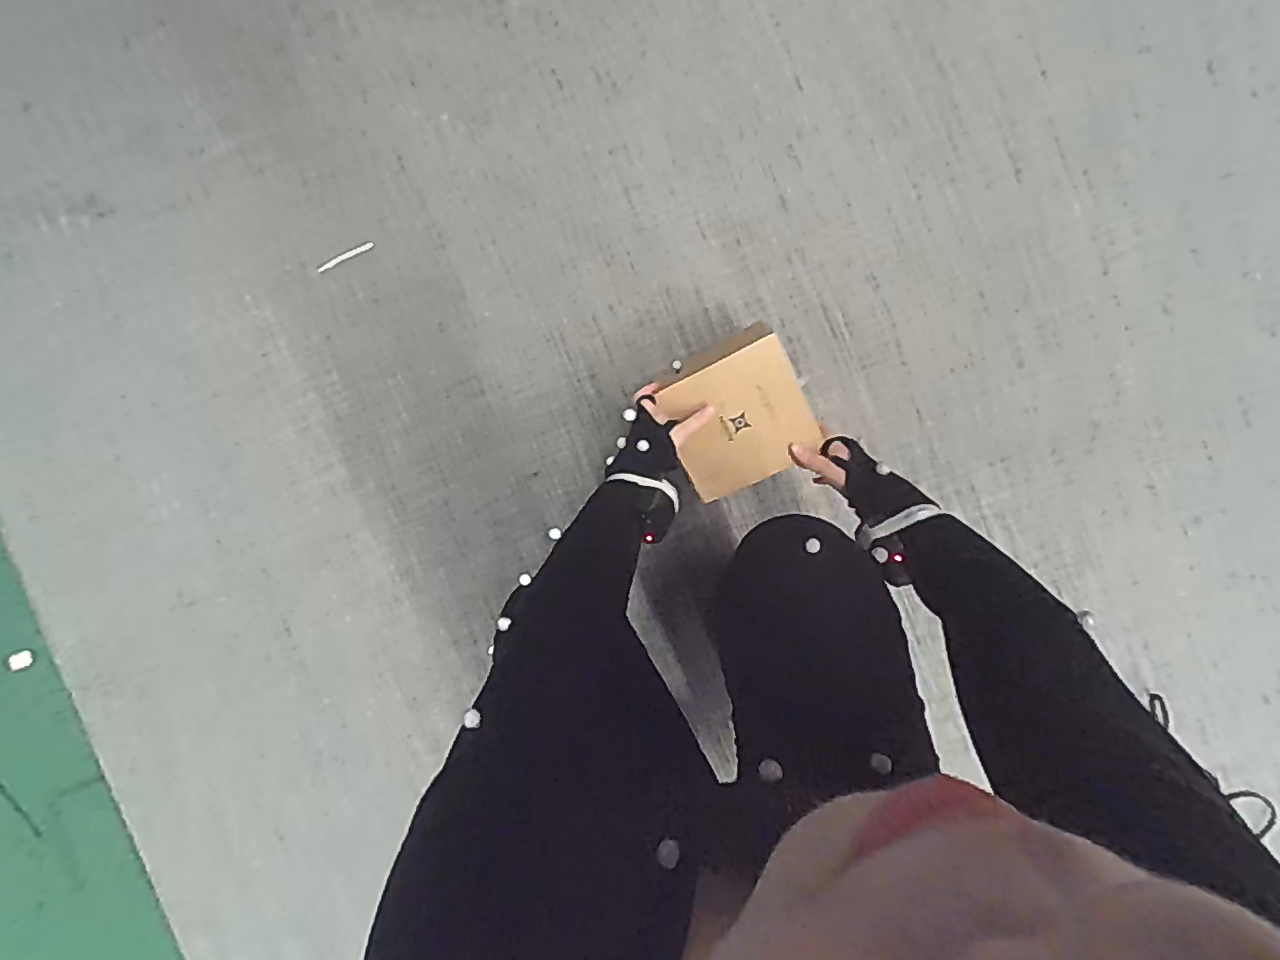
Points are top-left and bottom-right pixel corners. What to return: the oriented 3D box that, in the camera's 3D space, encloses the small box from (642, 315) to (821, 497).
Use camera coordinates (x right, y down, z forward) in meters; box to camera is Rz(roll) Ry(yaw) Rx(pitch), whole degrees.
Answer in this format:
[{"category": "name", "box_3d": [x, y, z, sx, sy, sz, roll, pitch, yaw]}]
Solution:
[{"category": "small box", "box_3d": [0.125, -0.108, 0.746, 0.179, 0.176, 0.168, -25, 109, 17]}]
